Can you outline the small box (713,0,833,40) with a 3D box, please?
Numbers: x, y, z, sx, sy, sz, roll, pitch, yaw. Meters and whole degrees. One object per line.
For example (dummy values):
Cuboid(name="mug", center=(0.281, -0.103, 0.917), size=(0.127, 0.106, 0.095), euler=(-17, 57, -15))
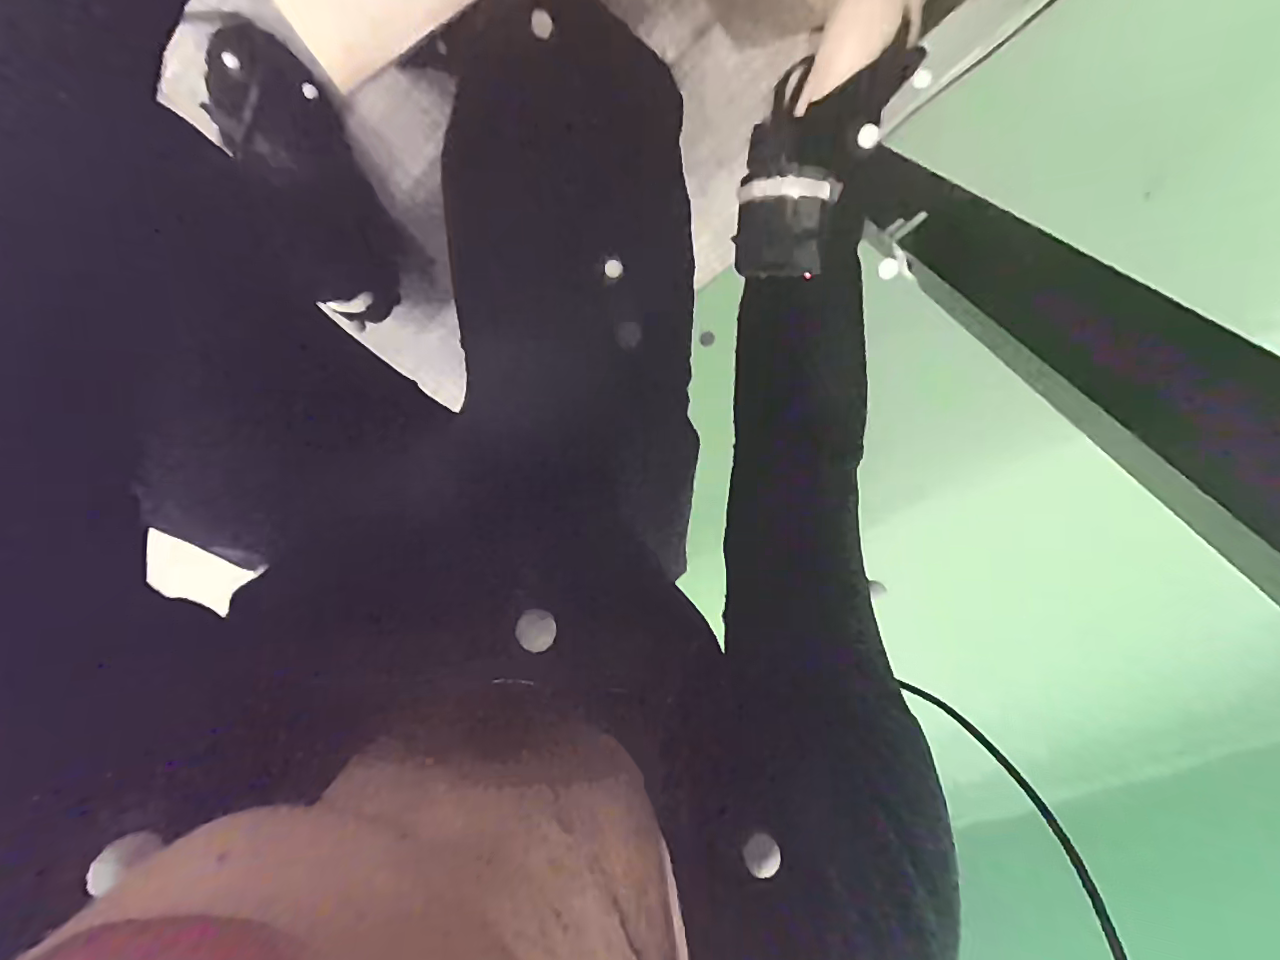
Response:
Cuboid(name="small box", center=(0.112, -0.456, 0.370), size=(0.179, 0.176, 0.168), euler=(37, 105, -30))
